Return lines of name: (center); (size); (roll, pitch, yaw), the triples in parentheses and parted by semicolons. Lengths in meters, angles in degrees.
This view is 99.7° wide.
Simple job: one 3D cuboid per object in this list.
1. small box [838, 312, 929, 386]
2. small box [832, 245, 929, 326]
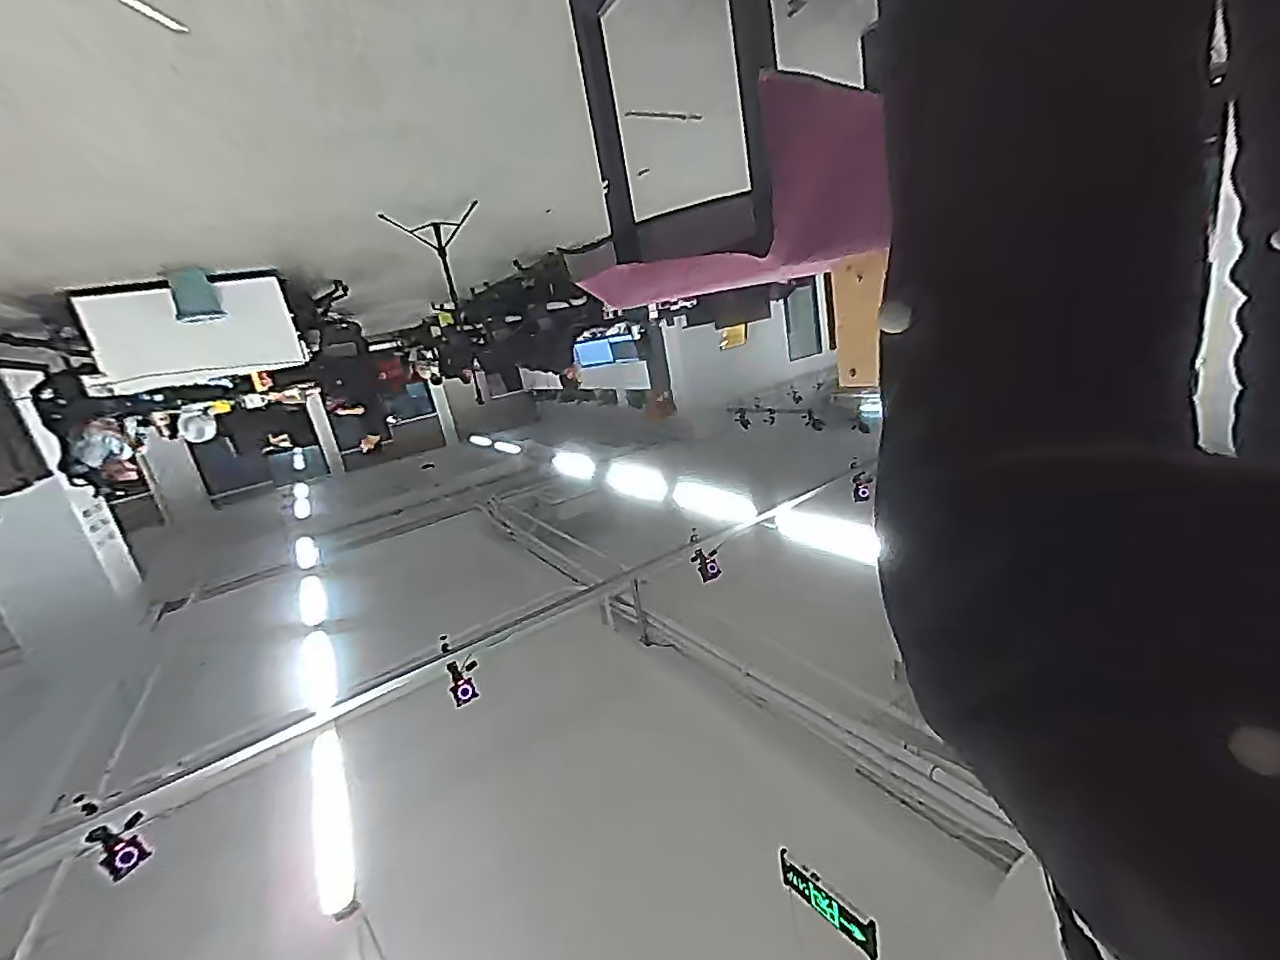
small box: (0.656, -0.354, 1.462); (0.168, 0.176, 0.179); (-21, -161, -30)
small box: (0.627, -0.509, 1.413); (0.179, 0.176, 0.168); (-18, -163, -25)
